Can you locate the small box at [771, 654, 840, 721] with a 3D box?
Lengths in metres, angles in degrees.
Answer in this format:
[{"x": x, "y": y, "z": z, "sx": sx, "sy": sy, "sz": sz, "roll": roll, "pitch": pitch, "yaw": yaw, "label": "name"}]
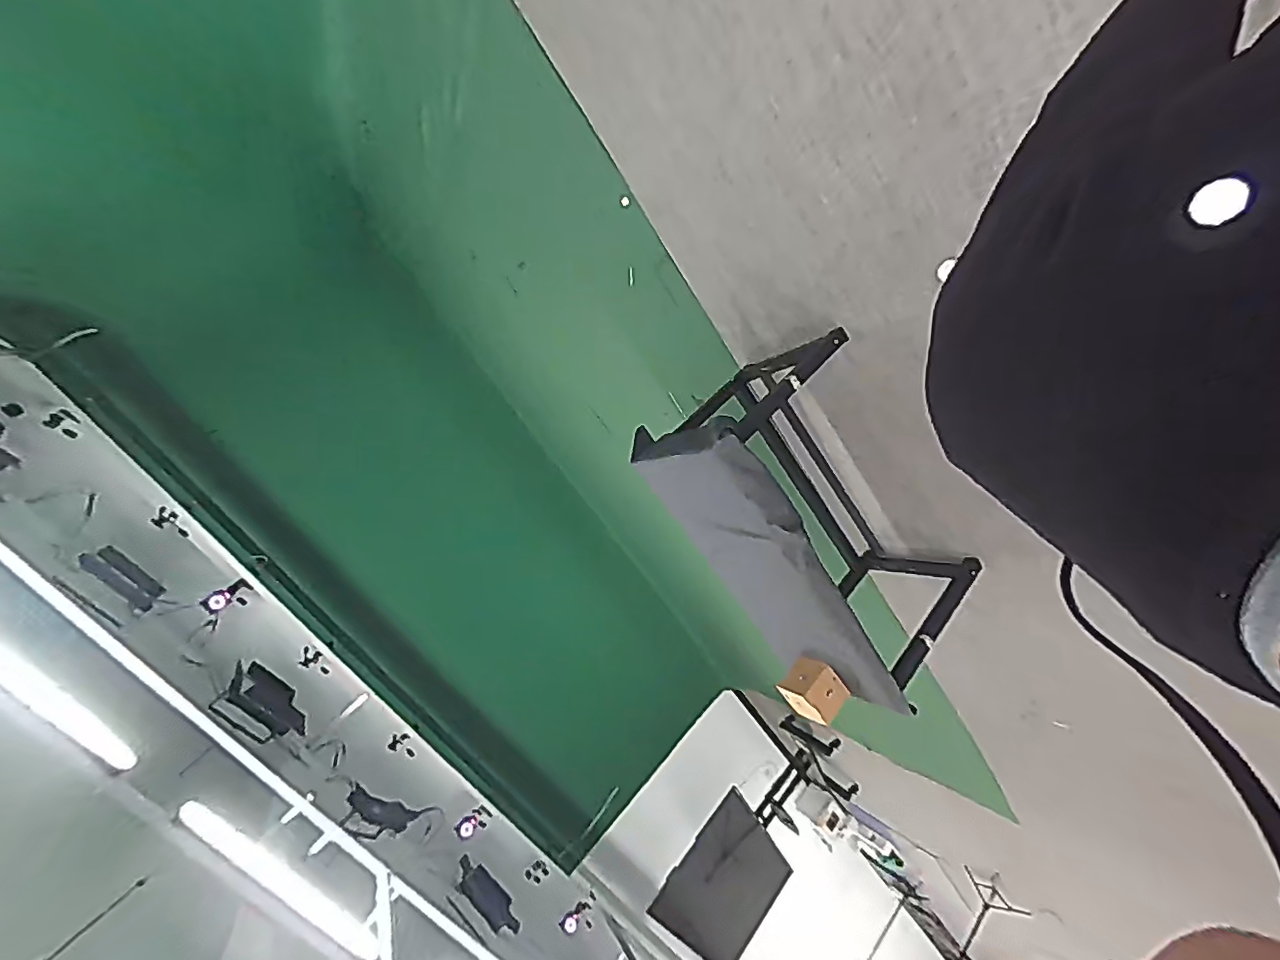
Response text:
[{"x": 0.669, "y": 0.823, "z": 2.162, "sx": 0.168, "sy": 0.176, "sz": 0.179, "roll": 52, "pitch": 157, "yaw": -11, "label": "small box"}]
